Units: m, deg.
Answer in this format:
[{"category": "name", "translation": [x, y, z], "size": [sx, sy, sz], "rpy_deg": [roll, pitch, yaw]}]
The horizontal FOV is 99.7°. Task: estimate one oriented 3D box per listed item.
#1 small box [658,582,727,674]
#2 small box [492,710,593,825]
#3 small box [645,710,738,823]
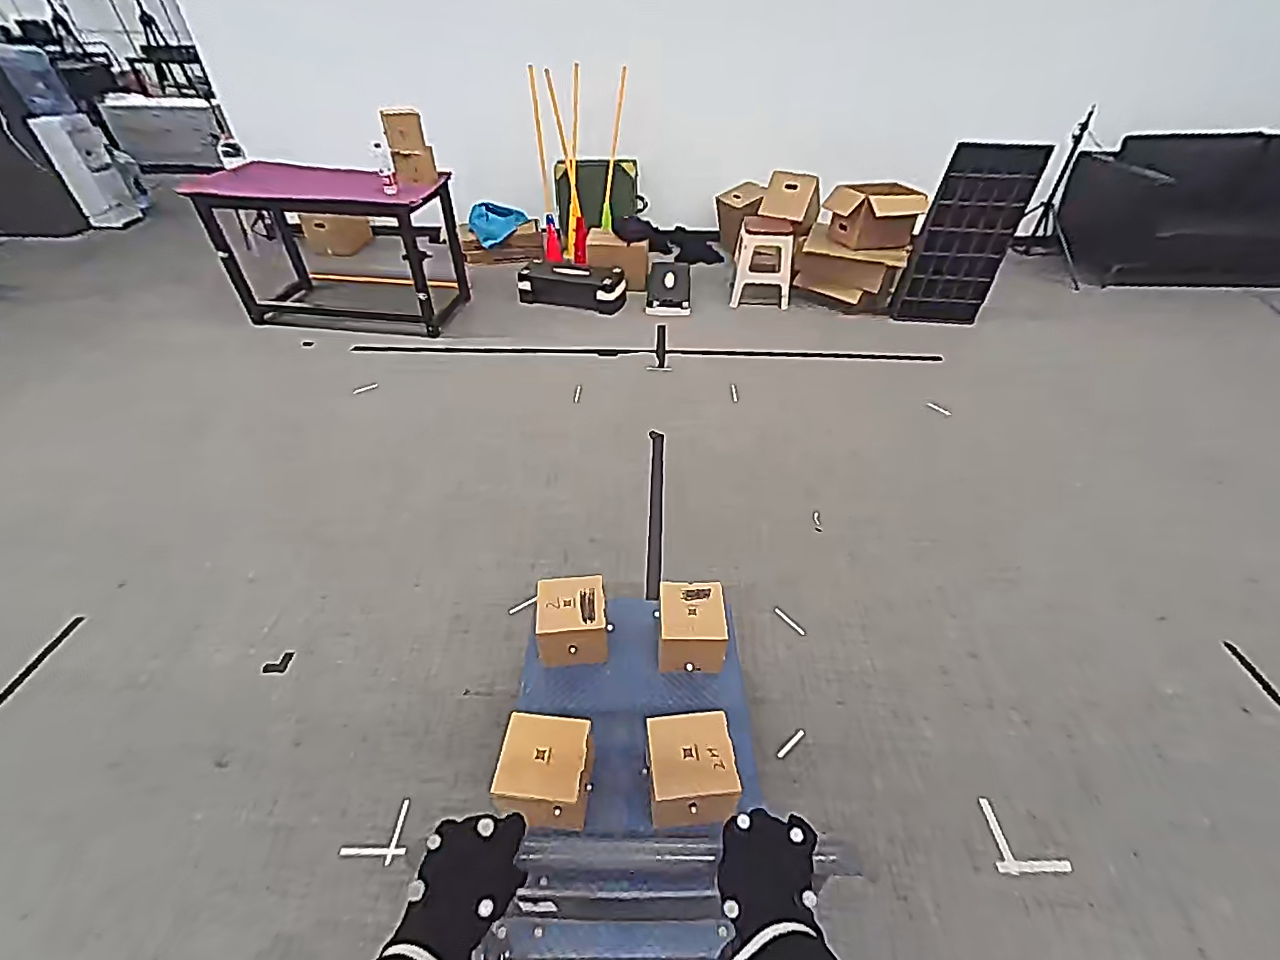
[{"category": "small box", "translation": [0.134, 0.393, 1.444], "size": [0.168, 0.176, 0.179], "rpy_deg": [1, 42, 0]}, {"category": "small box", "translation": [-0.203, 0.626, 1.174], "size": [0.179, 0.176, 0.168], "rpy_deg": [5, 41, 3]}, {"category": "small box", "translation": [0.105, 0.627, 1.178], "size": [0.179, 0.176, 0.168], "rpy_deg": [-3, 42, -4]}]
